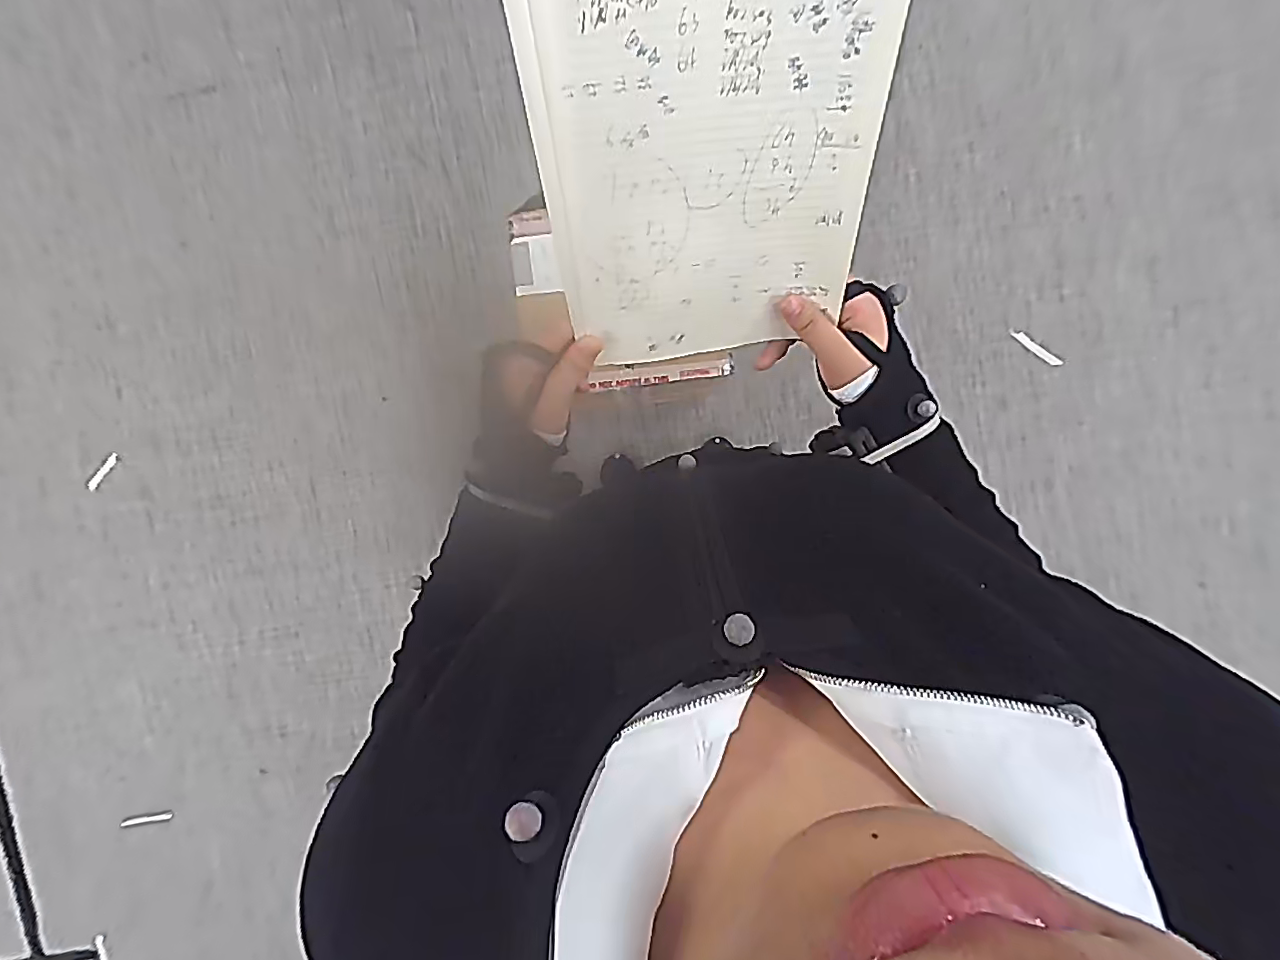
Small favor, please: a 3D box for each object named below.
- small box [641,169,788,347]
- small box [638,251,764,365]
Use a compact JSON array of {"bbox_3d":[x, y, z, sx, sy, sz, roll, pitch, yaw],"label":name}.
[{"bbox_3d":[0.095,-0.302,0.768,0.168,0.176,0.179,-9,93,-1],"label":"small box"},{"bbox_3d":[0.096,-0.304,0.932,0.179,0.176,0.168,-12,94,0],"label":"small box"}]
